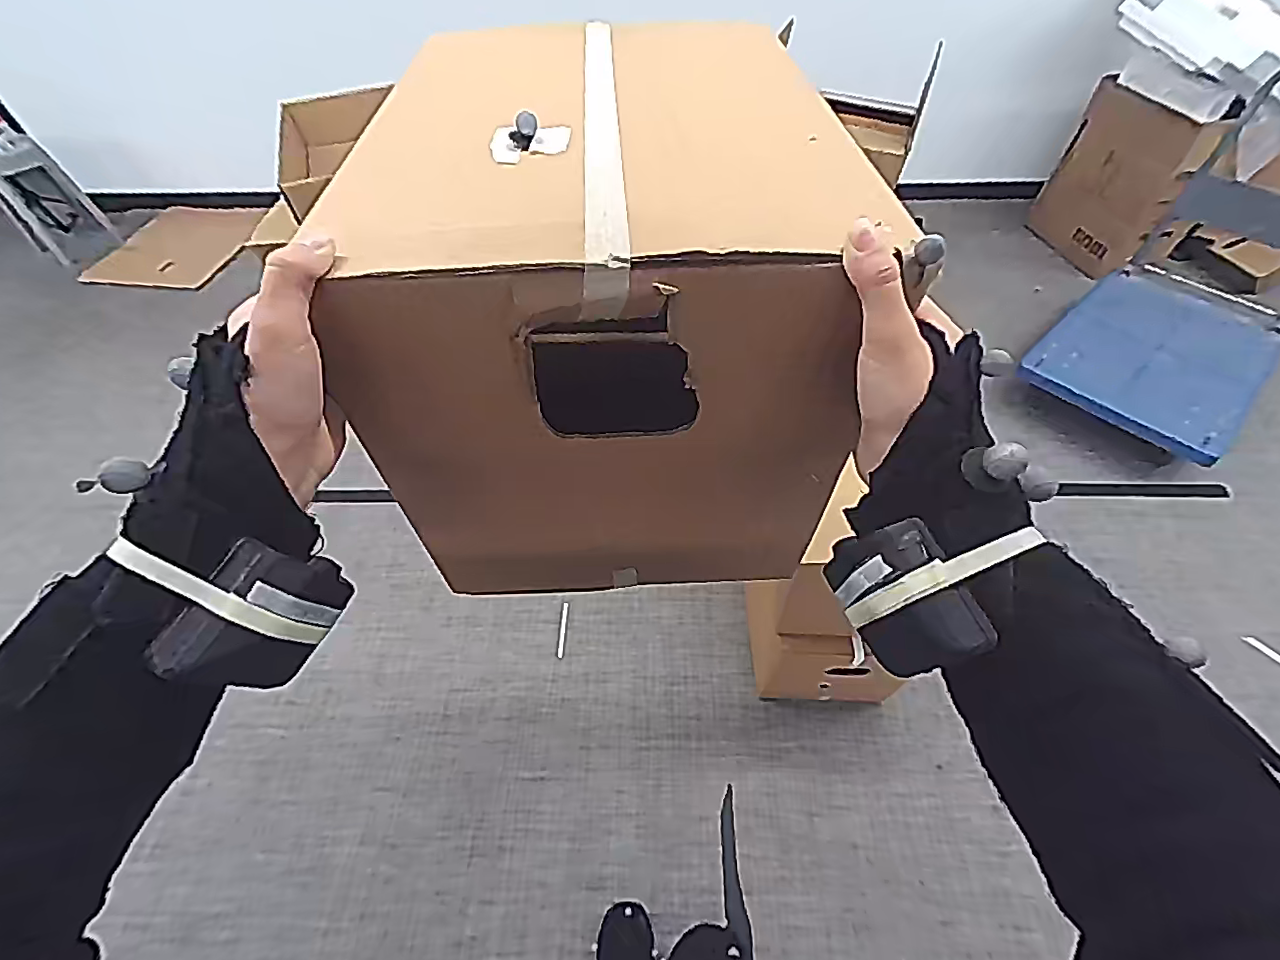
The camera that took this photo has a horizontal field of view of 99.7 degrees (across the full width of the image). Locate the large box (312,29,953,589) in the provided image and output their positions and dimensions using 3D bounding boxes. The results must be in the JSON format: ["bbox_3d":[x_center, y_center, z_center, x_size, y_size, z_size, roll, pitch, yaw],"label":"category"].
[{"bbox_3d":[-0.016,-0.156,0.490,0.320,0.320,0.408,-4,52,-1],"label":"large box"}]
